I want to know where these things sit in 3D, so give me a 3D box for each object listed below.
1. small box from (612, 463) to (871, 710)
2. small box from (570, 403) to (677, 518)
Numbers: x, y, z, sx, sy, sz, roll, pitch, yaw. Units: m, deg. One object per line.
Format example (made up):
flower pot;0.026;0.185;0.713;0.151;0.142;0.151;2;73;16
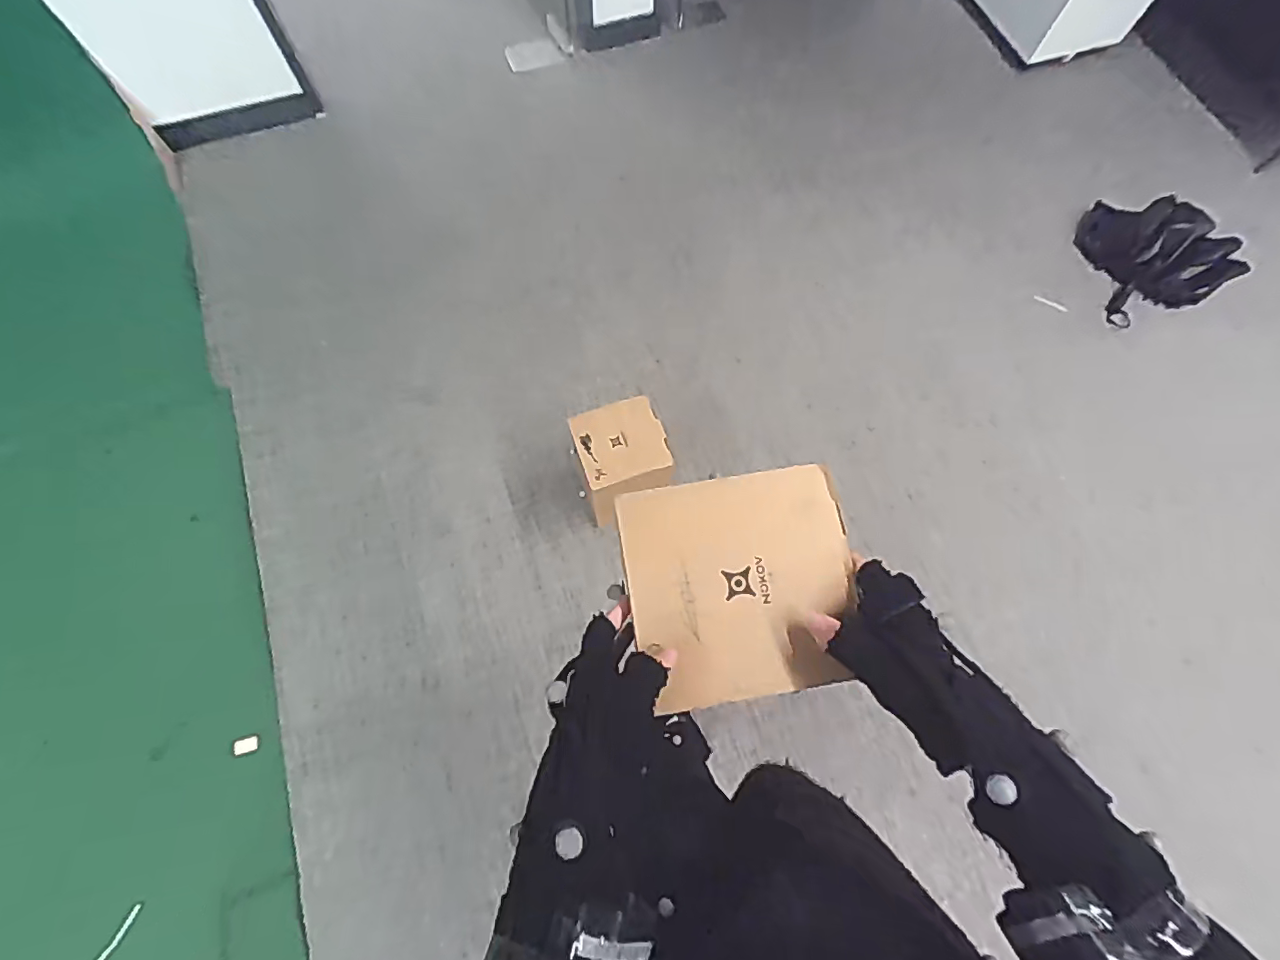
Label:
small box;0.074;0.094;0.492;0.179;0.176;0.168;-10;77;-2
small box;-0.036;-0.036;1.159;0.179;0.176;0.168;-21;74;-7
